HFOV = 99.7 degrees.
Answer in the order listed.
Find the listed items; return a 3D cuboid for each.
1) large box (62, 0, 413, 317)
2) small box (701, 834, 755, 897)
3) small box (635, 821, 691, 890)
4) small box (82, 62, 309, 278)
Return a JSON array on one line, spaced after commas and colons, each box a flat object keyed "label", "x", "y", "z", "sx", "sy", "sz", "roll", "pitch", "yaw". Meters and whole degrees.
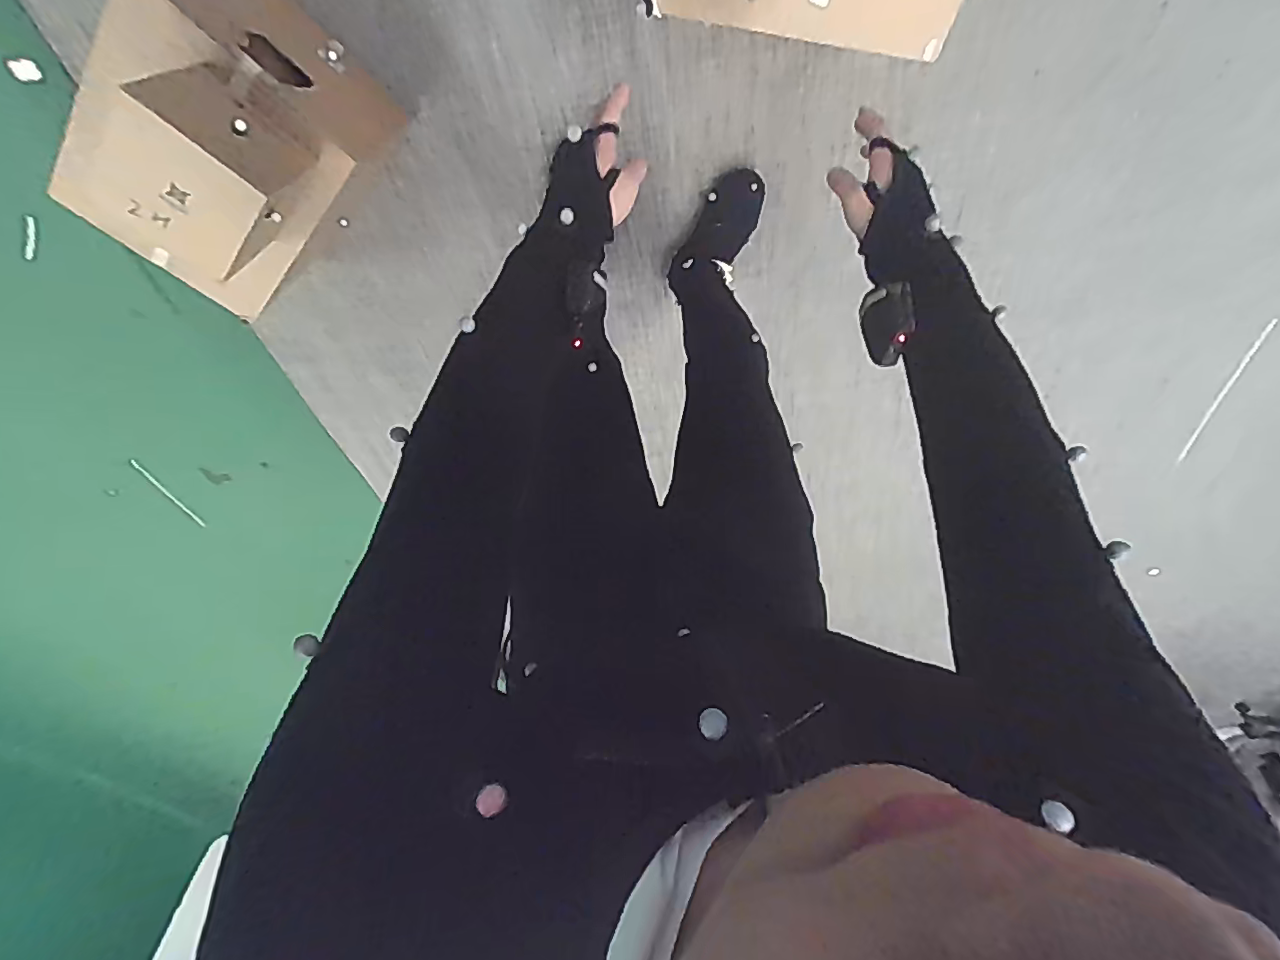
[{"label": "large box", "x": -0.670, "y": -0.583, "z": 0.940, "sx": 0.408, "sy": 0.320, "sz": 0.320, "roll": -33, "pitch": 125, "yaw": 29}, {"label": "small box", "x": 0.316, "y": 1.397, "z": 1.957, "sx": 0.168, "sy": 0.176, "sz": 0.179, "roll": -9, "pitch": 134, "yaw": 8}, {"label": "small box", "x": 0.075, "y": 1.258, "z": 1.818, "sx": 0.168, "sy": 0.176, "sz": 0.179, "roll": -7, "pitch": 136, "yaw": 7}, {"label": "small box", "x": -0.594, "y": -0.428, "z": 0.746, "sx": 0.179, "sy": 0.176, "sz": 0.168, "roll": -34, "pitch": 126, "yaw": 29}]
